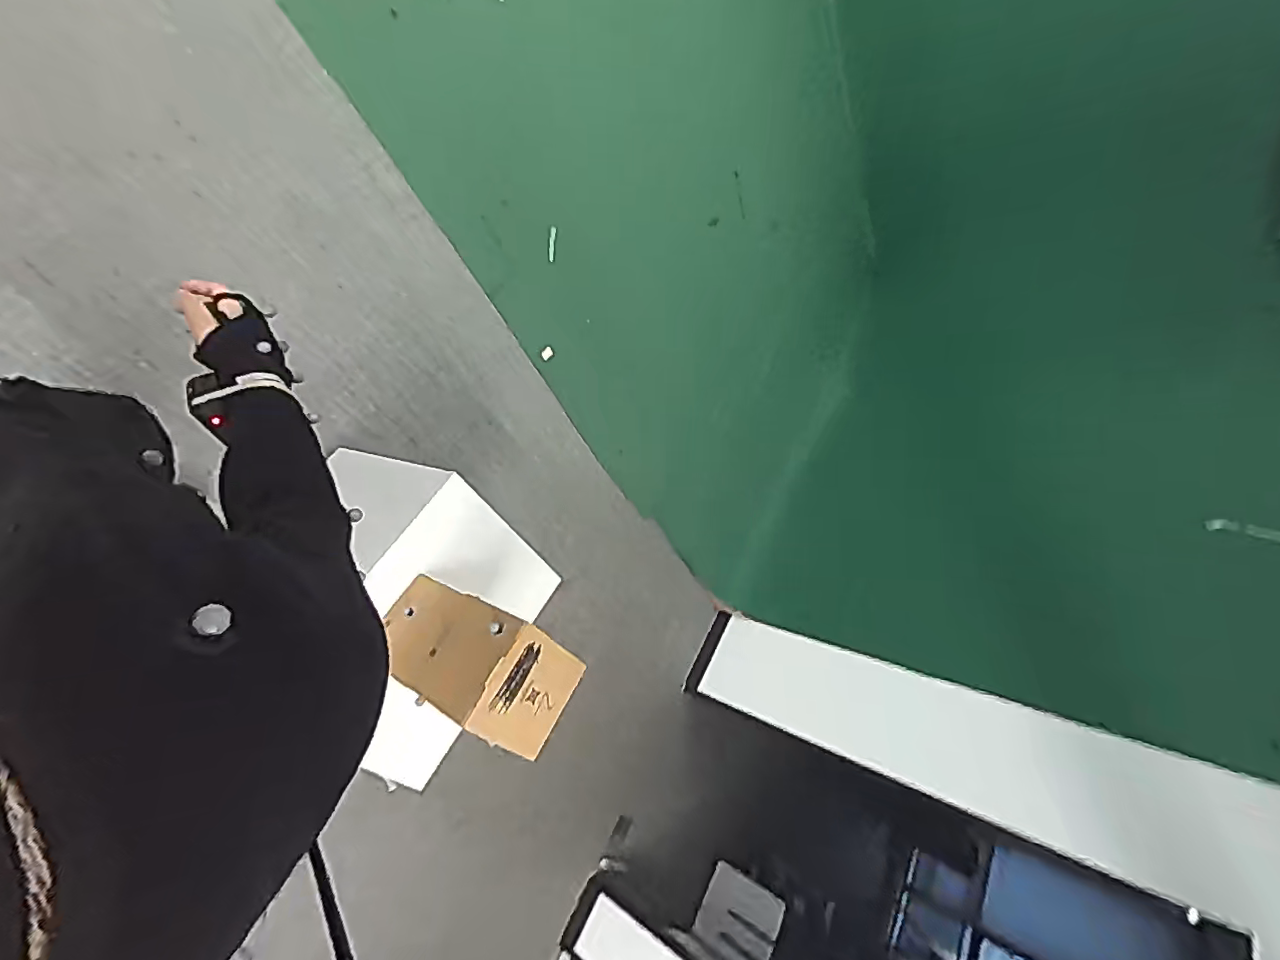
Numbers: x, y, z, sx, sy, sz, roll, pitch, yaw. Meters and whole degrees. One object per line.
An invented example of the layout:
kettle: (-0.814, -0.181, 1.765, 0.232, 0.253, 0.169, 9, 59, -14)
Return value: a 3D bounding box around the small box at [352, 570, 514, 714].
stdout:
small box: (-0.371, 0.284, 0.977, 0.168, 0.176, 0.179, -56, 136, -26)
